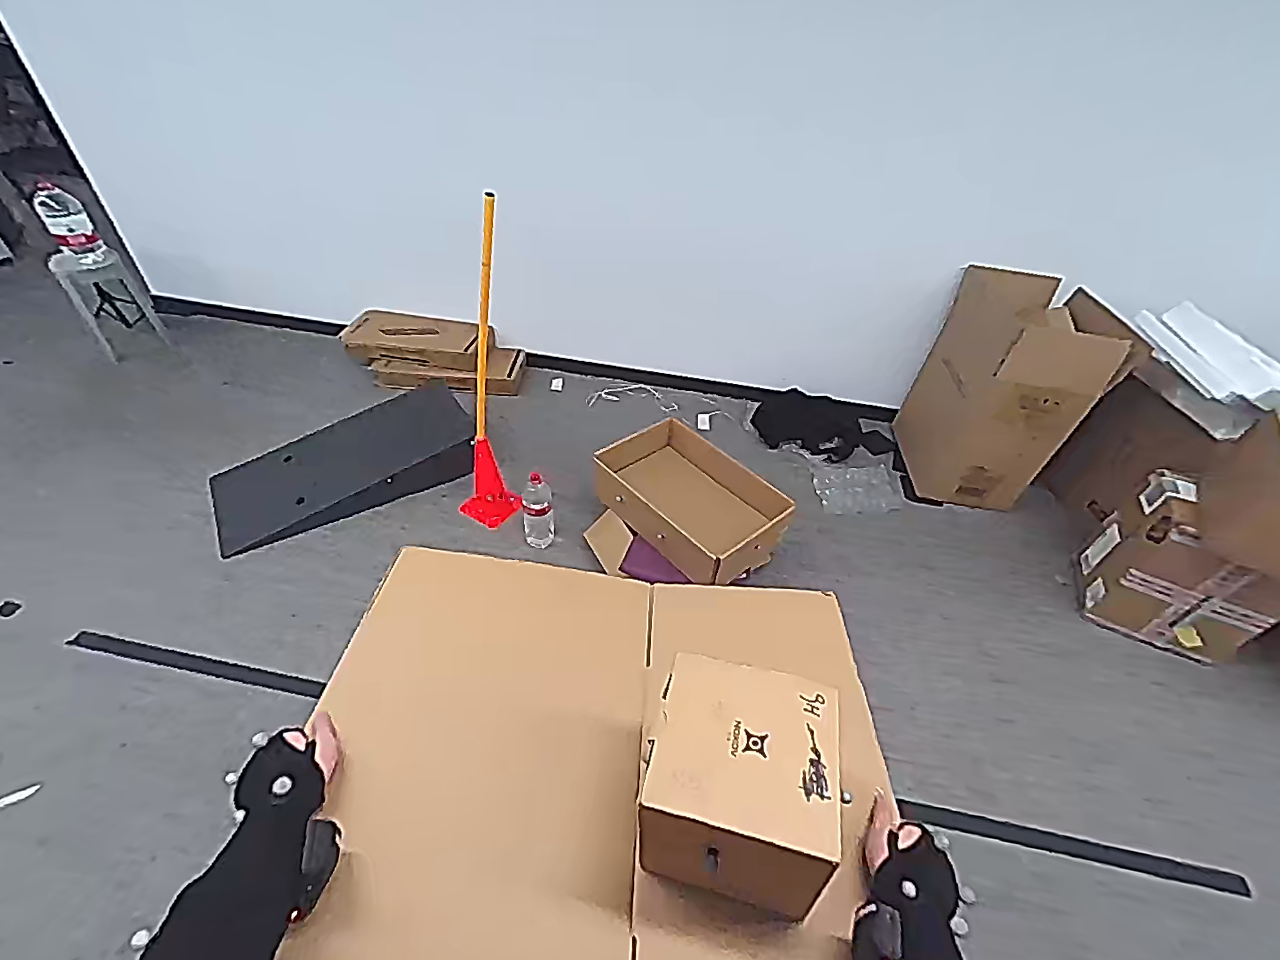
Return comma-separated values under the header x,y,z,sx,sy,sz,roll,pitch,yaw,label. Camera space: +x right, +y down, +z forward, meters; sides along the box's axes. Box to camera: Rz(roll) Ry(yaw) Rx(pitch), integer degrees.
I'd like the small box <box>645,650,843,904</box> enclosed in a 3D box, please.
x,y,z,sx,sy,sz,roll,pitch,yaw,label
0.111,0.315,0.579,0.179,0.176,0.168,8,39,13,small box
